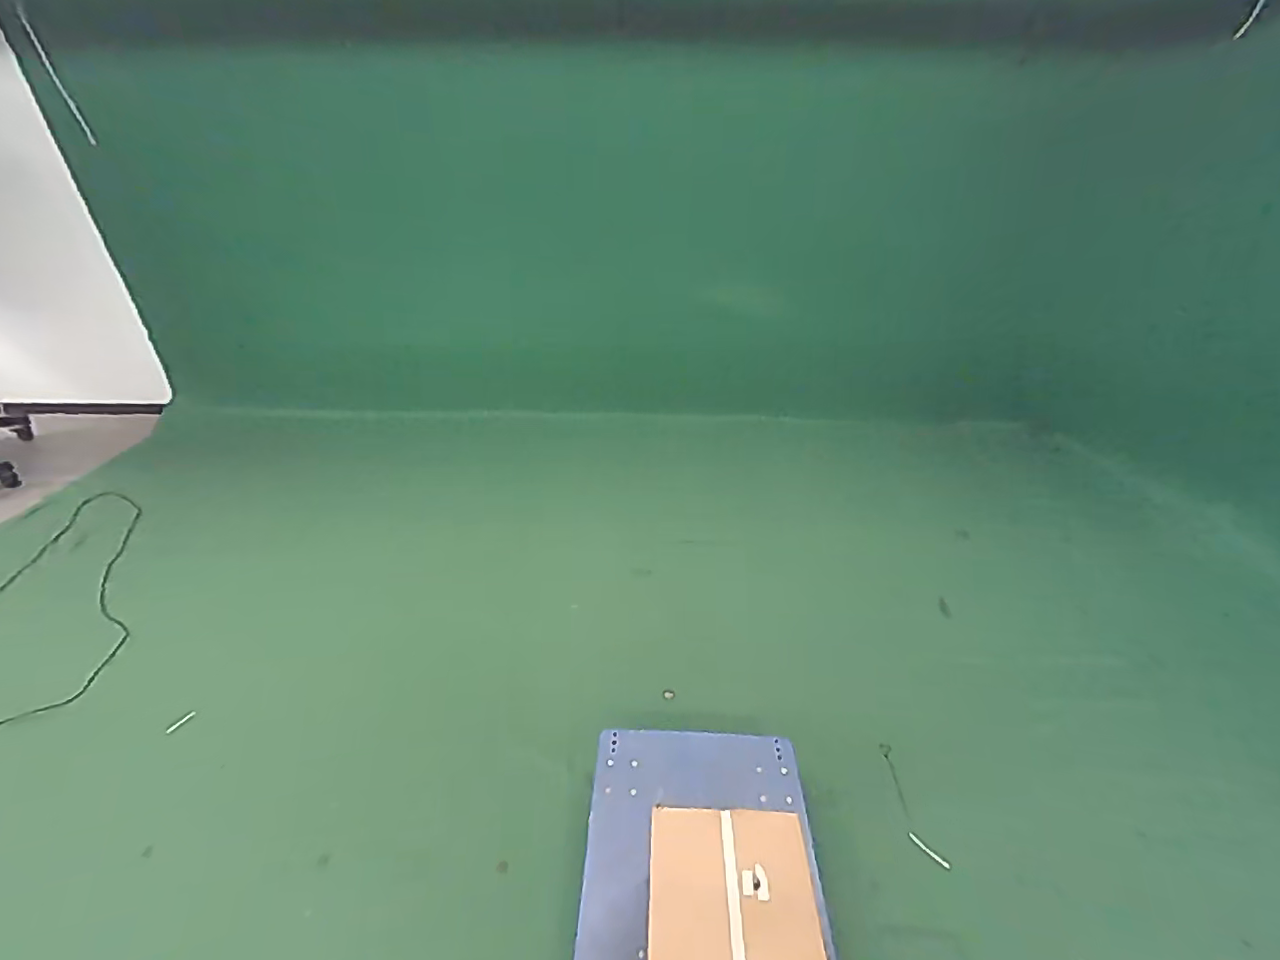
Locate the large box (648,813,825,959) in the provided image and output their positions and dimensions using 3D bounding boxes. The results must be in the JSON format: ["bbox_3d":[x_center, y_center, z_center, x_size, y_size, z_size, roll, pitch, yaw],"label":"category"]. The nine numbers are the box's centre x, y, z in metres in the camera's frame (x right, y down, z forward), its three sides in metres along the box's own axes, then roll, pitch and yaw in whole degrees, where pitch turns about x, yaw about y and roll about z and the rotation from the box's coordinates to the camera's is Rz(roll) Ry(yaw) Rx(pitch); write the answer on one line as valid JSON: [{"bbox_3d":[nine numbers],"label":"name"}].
[{"bbox_3d":[0.170,0.942,1.055,0.320,0.320,0.408,2,31,1],"label":"large box"}]
